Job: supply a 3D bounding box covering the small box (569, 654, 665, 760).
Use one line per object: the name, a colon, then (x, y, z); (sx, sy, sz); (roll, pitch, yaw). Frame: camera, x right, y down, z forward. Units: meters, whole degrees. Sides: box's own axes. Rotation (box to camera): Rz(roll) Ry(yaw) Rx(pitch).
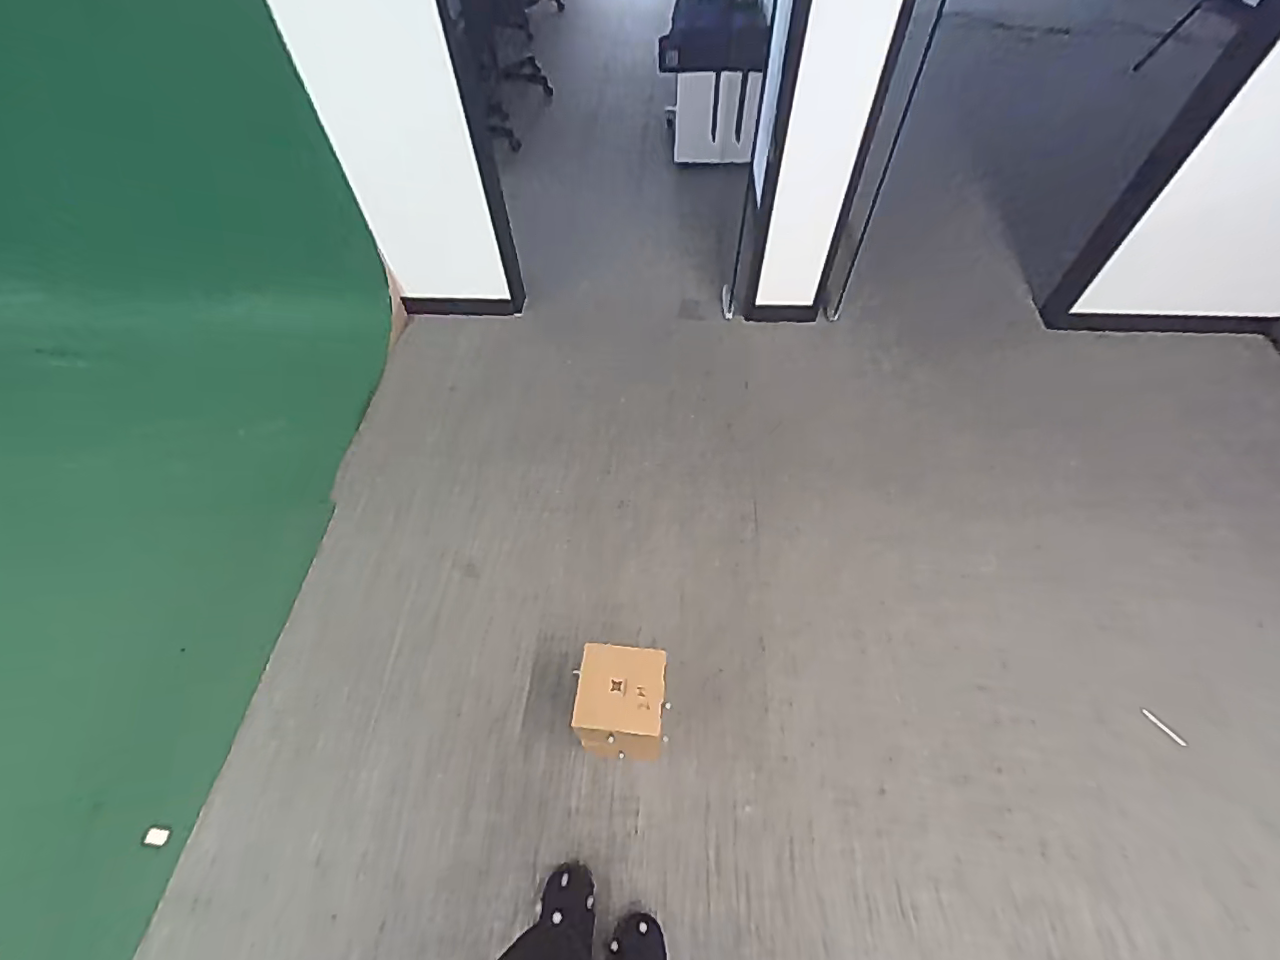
small box: (-0.041, 0.484, 1.146); (0.179, 0.176, 0.168); (5, 56, 5)
